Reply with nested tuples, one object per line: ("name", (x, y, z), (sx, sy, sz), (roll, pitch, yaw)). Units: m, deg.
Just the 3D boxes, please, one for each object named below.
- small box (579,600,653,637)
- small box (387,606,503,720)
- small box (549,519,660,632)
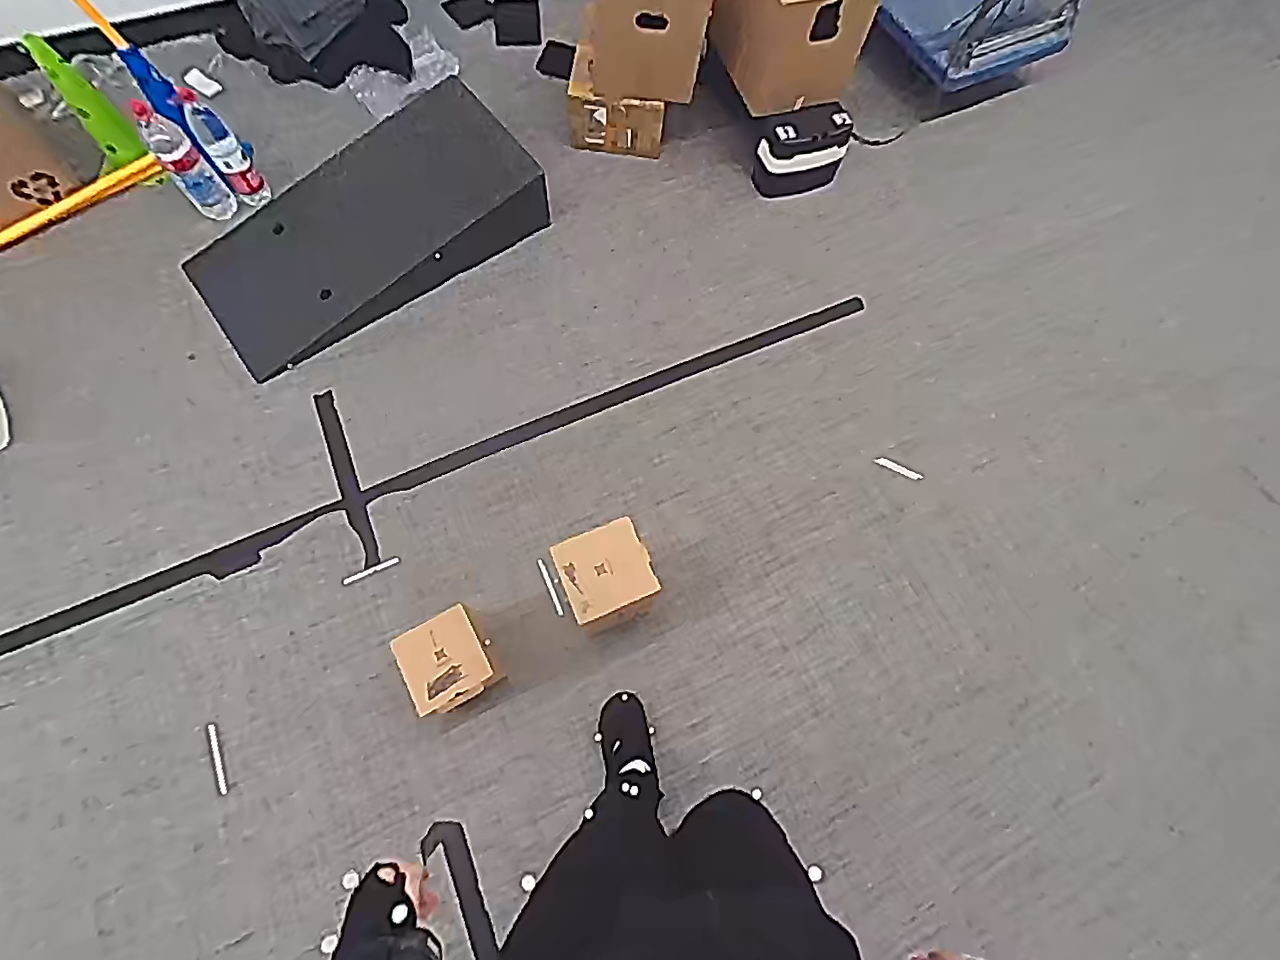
("small box", (-0.084, 0.260, 1.276), (0.179, 0.176, 0.168), (-20, 73, -10))
("small box", (-0.422, 0.403, 1.200), (0.168, 0.176, 0.179), (-28, 74, -13))
("small box", (-0.076, 0.203, 1.123), (0.179, 0.176, 0.168), (-21, 72, -11))
